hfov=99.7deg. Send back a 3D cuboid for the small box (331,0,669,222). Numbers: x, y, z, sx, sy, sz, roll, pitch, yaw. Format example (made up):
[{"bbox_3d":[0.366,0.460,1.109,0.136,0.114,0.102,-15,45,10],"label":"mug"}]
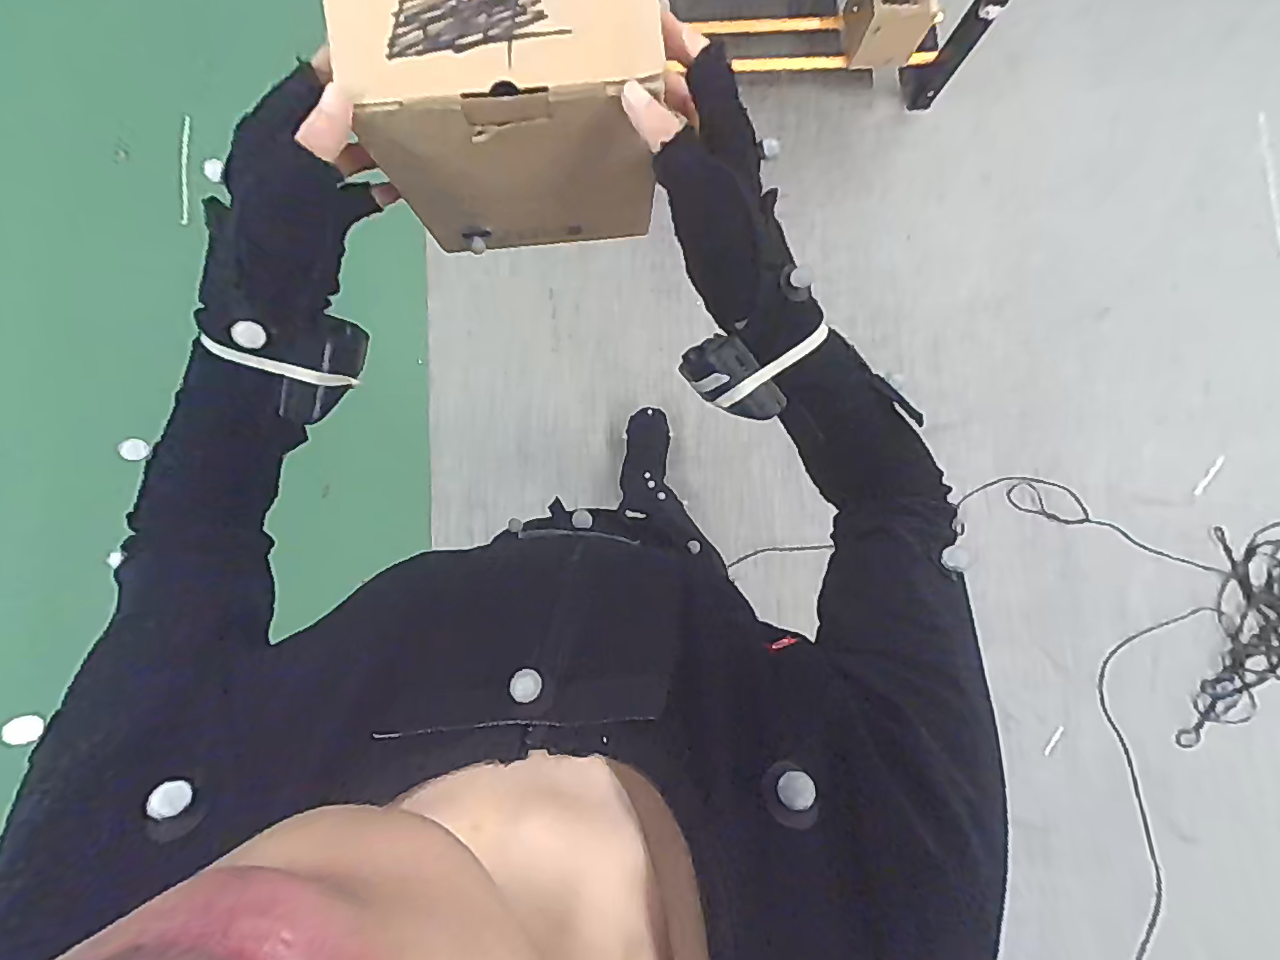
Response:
[{"bbox_3d":[-0.075,-0.286,0.345,0.168,0.176,0.179,-6,88,-3],"label":"small box"}]
